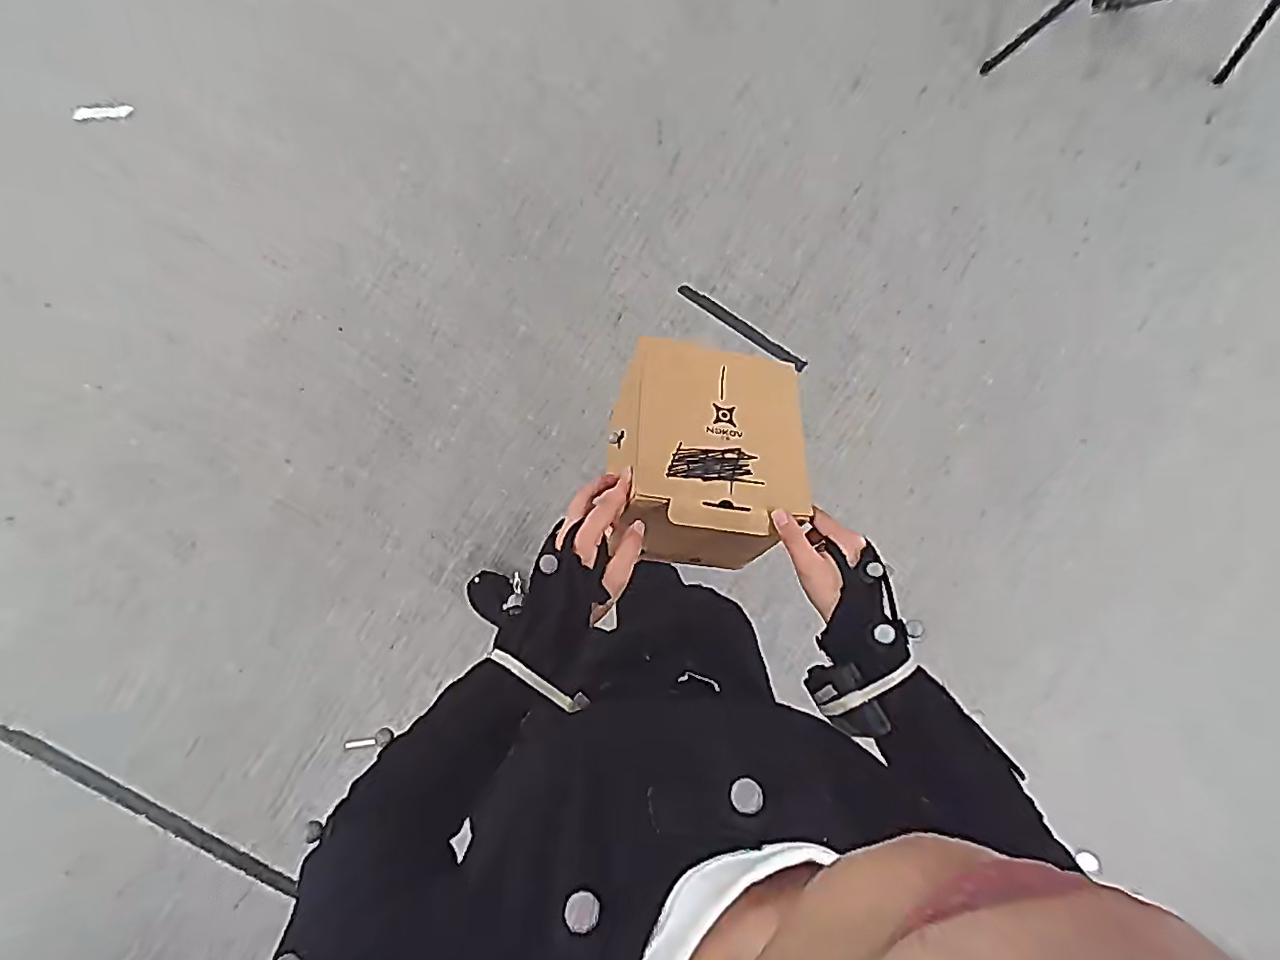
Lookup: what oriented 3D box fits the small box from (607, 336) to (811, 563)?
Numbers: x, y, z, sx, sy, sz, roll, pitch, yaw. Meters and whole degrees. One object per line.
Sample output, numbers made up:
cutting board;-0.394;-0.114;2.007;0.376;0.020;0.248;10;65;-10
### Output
small box;0.060;-0.020;0.572;0.168;0.176;0.179;7;64;-10
